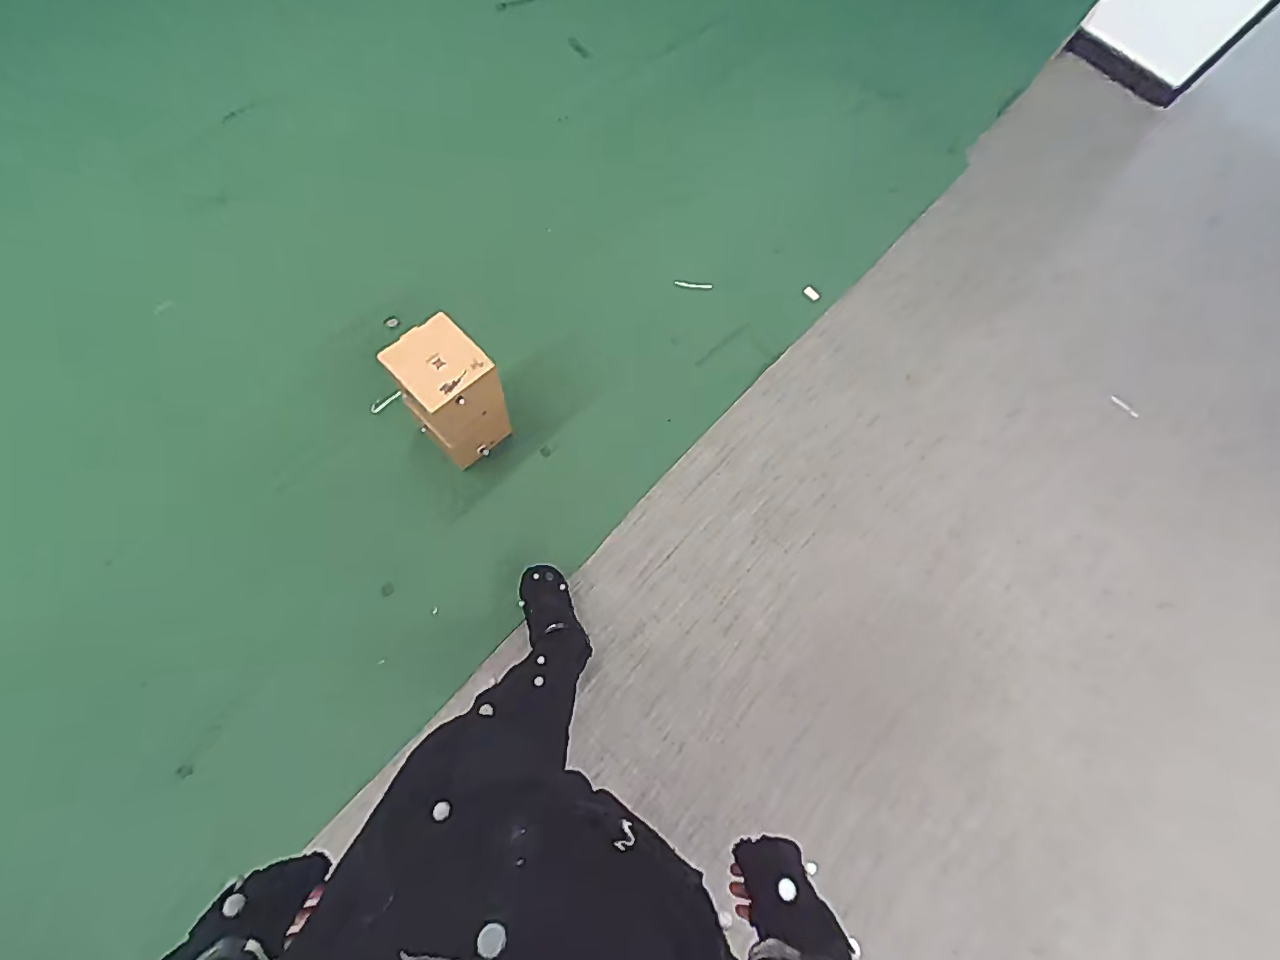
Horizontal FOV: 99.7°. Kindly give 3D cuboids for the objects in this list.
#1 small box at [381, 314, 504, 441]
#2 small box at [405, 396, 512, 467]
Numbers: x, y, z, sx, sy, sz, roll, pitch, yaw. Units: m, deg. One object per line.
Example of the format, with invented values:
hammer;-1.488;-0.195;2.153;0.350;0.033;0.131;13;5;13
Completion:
small box;-0.421;-0.217;1.182;0.179;0.176;0.168;45;72;9
small box;-0.439;-0.160;1.335;0.179;0.176;0.168;44;73;7
